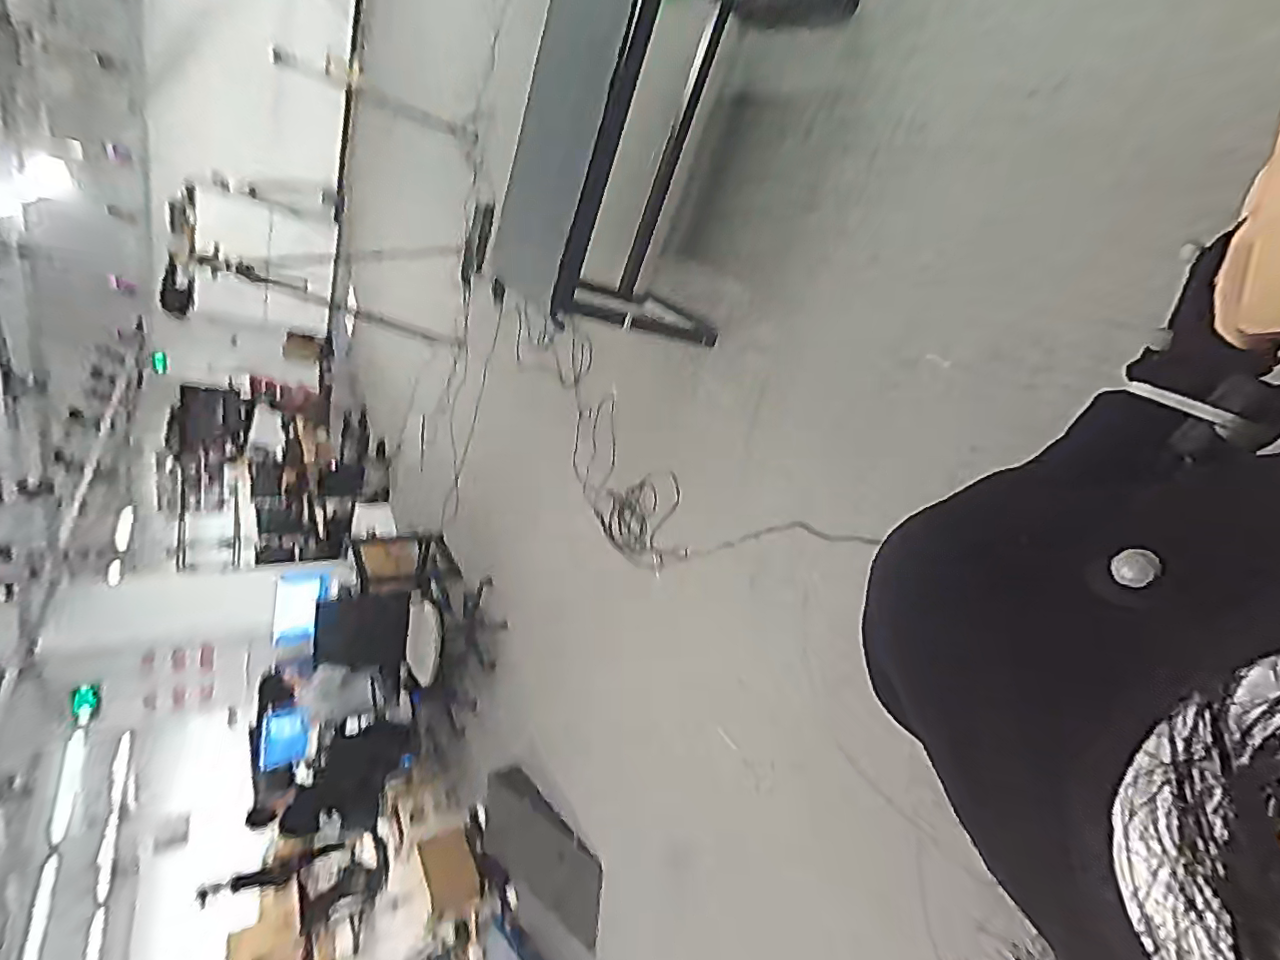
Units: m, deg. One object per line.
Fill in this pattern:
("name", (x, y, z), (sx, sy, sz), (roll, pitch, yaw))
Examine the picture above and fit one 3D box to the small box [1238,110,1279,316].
("small box", (0.433, -0.163, 0.238), (0.168, 0.176, 0.179), (-157, 65, -65))
